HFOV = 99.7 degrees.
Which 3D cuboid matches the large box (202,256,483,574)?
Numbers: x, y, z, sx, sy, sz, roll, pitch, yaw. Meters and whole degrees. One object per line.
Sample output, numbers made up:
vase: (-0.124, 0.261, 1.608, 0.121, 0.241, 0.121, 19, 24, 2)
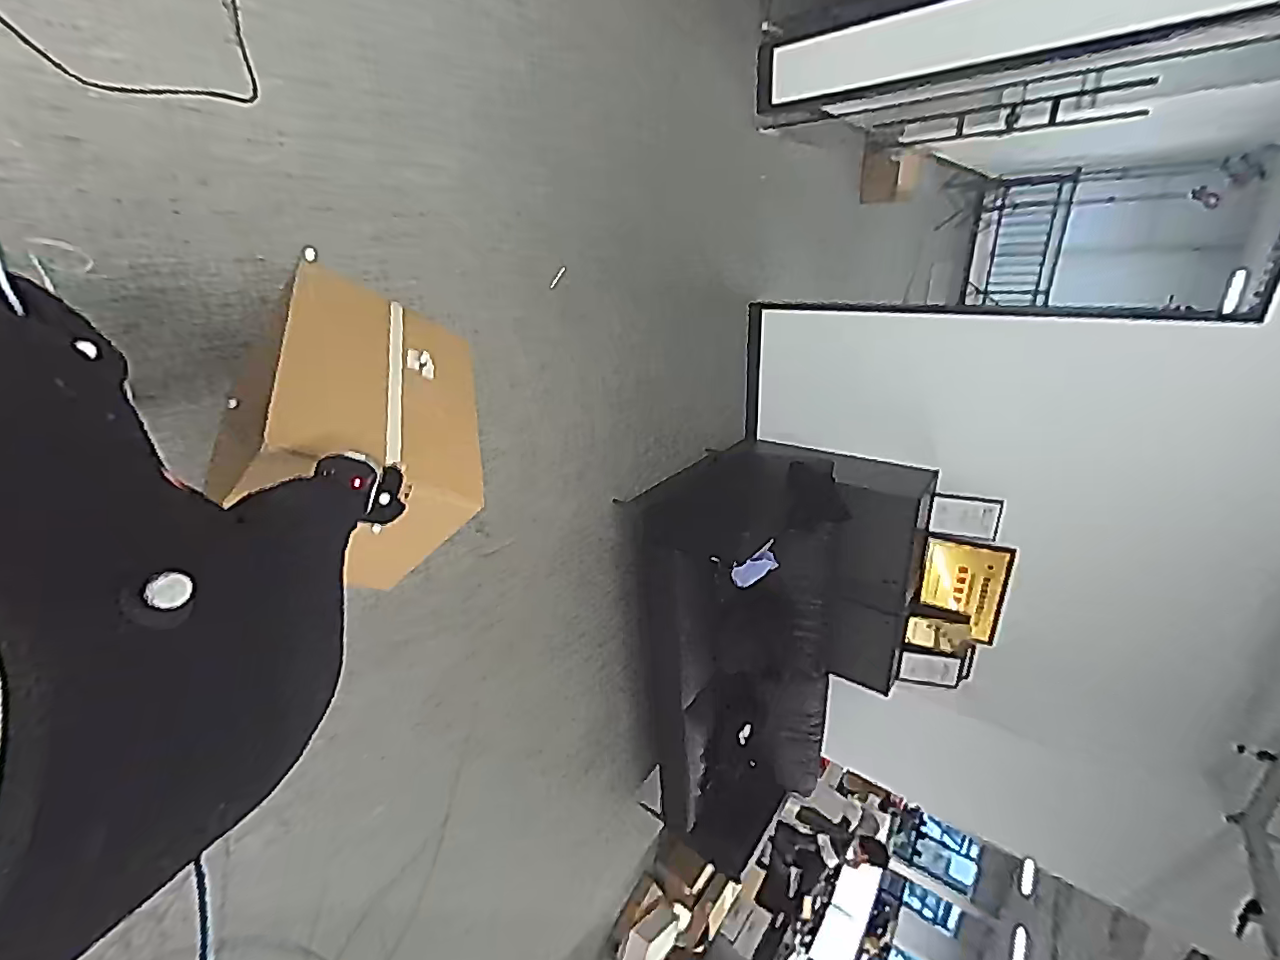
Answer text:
large box: (-0.512, -0.091, 0.953, 0.320, 0.320, 0.408, 22, 40, -44)
